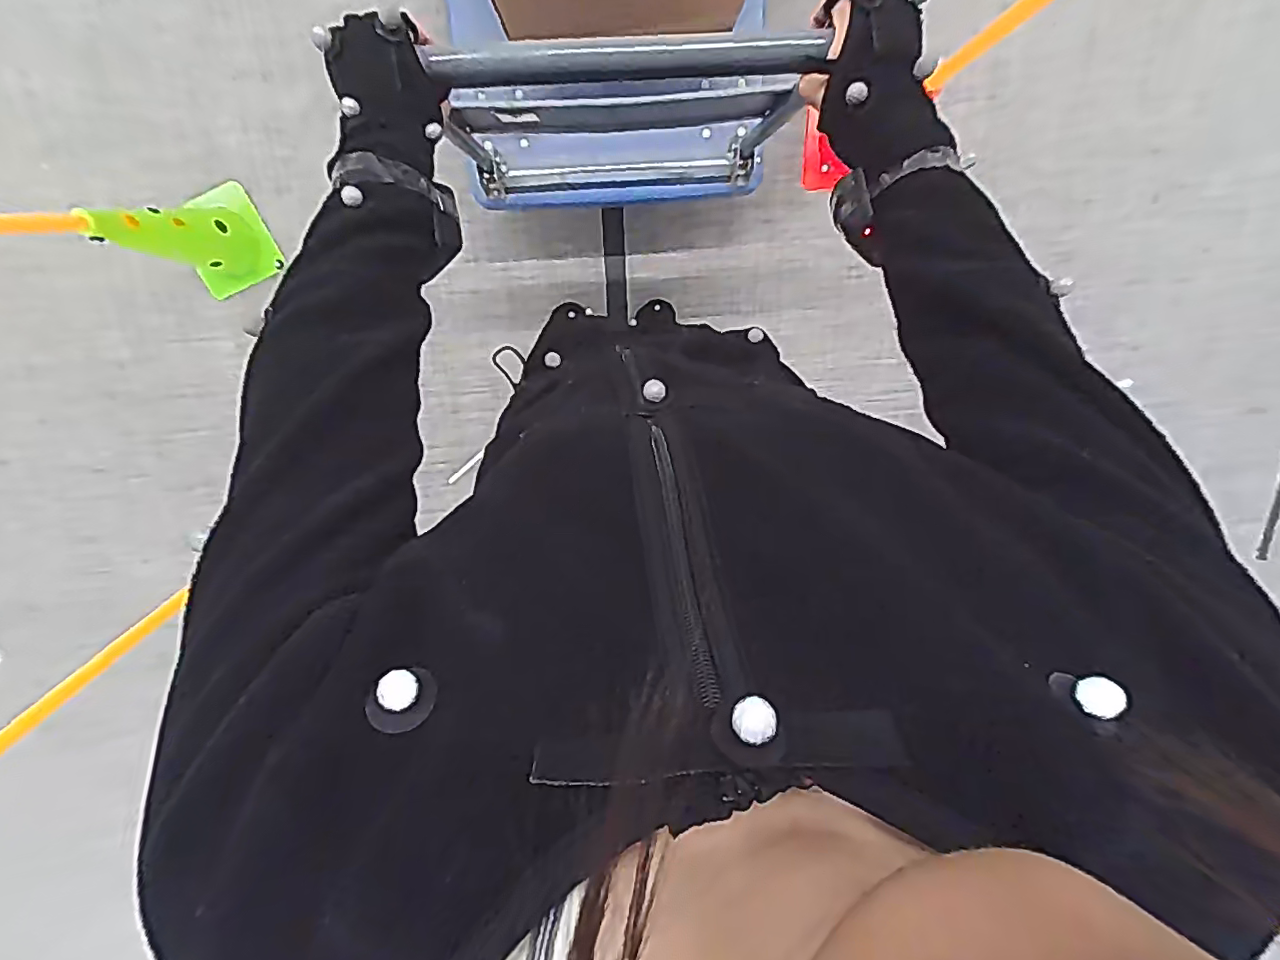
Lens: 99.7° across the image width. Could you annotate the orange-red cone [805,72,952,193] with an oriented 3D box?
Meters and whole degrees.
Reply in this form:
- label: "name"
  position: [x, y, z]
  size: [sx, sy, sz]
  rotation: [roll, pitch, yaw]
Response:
- label: "orange-red cone"
  position: [0.483, -0.699, 1.041]
  size: [0.199, 0.360, 0.198]
  rotation: [3, 109, -4]
